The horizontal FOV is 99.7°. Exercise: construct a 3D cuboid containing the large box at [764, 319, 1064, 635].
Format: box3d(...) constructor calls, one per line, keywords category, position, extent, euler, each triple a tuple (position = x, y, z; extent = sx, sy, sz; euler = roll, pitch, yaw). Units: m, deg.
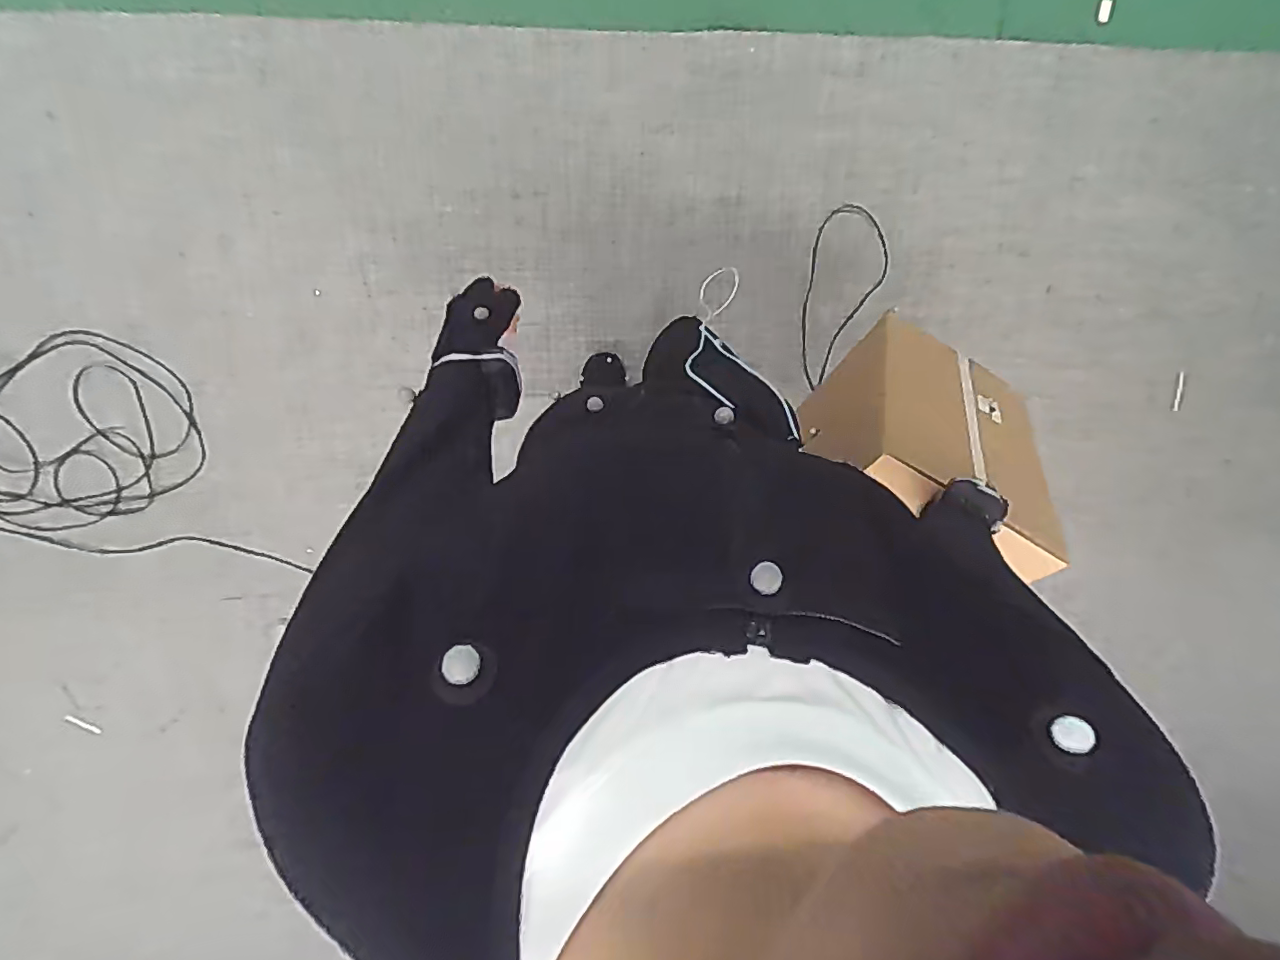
box3d(category="large box", position=(0.459, -0.004, 0.974), extent=(0.320, 0.408, 0.320), euler=(31, 138, -6))
